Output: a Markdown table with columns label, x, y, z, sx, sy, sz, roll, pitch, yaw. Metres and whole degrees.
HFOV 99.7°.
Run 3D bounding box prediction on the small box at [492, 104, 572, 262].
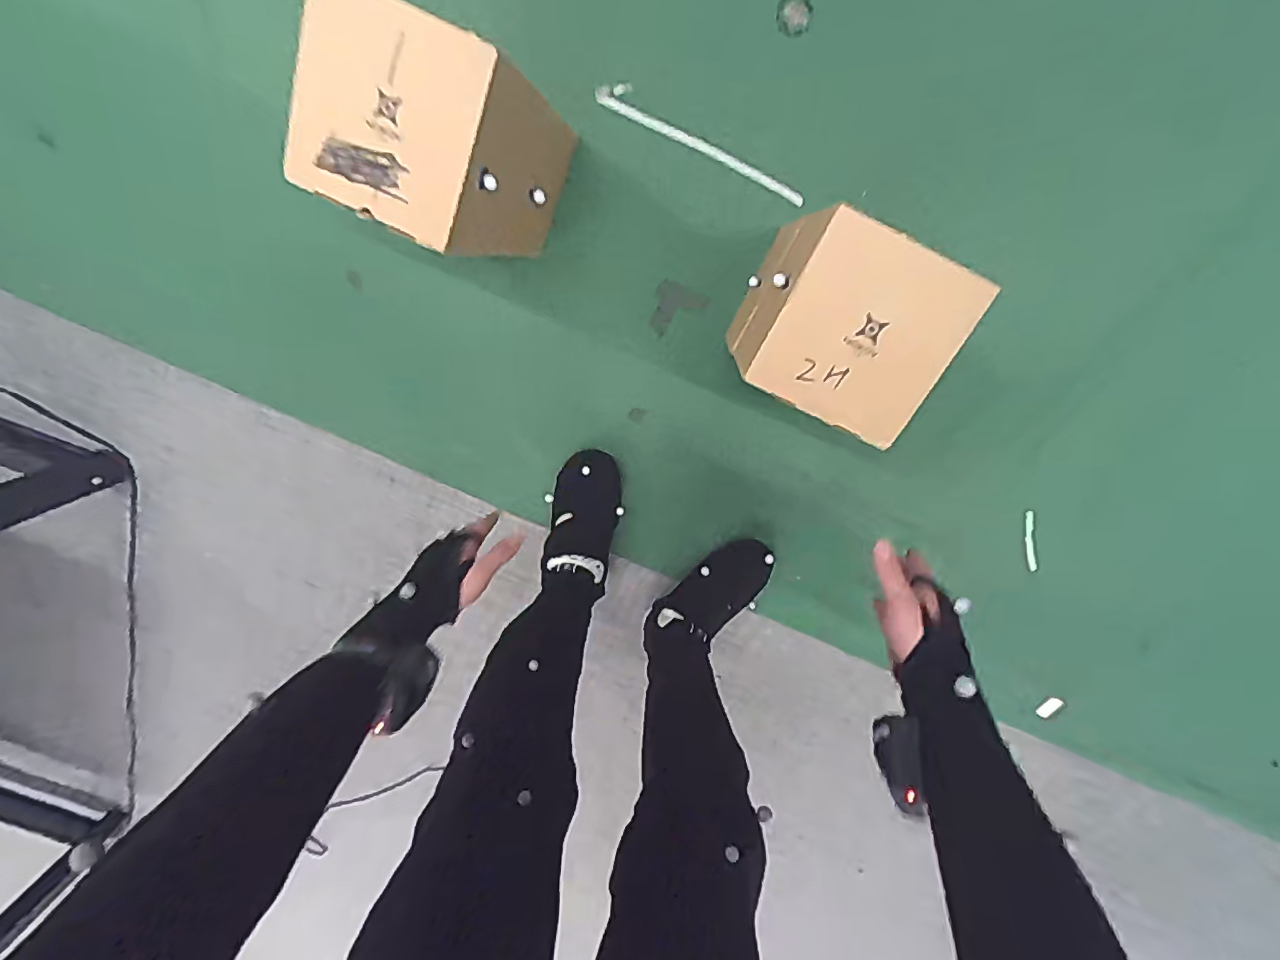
| label | x | y | z | sx | sy | sz | roll | pitch | yaw |
| --- | --- | --- | --- | --- | --- | --- | --- | --- | --- |
| small box | -0.200 | -0.406 | 0.708 | 0.168 | 0.176 | 0.179 | 25 | 113 | -4 |

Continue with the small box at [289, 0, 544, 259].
| label | x | y | z | sx | sy | sz | roll | pitch | yaw |
| --- | --- | --- | --- | --- | --- | --- | --- | --- | --- |
| small box | -0.215 | -0.346 | 0.556 | 0.168 | 0.176 | 0.179 | 24 | 112 | -4 |

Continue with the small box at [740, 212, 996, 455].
| label | x | y | z | sx | sy | sz | roll | pitch | yaw |
| --- | --- | --- | --- | --- | --- | --- | --- | --- | --- |
| small box | 0.220 | -0.160 | 0.584 | 0.168 | 0.176 | 0.179 | 26 | 112 | -5 |
